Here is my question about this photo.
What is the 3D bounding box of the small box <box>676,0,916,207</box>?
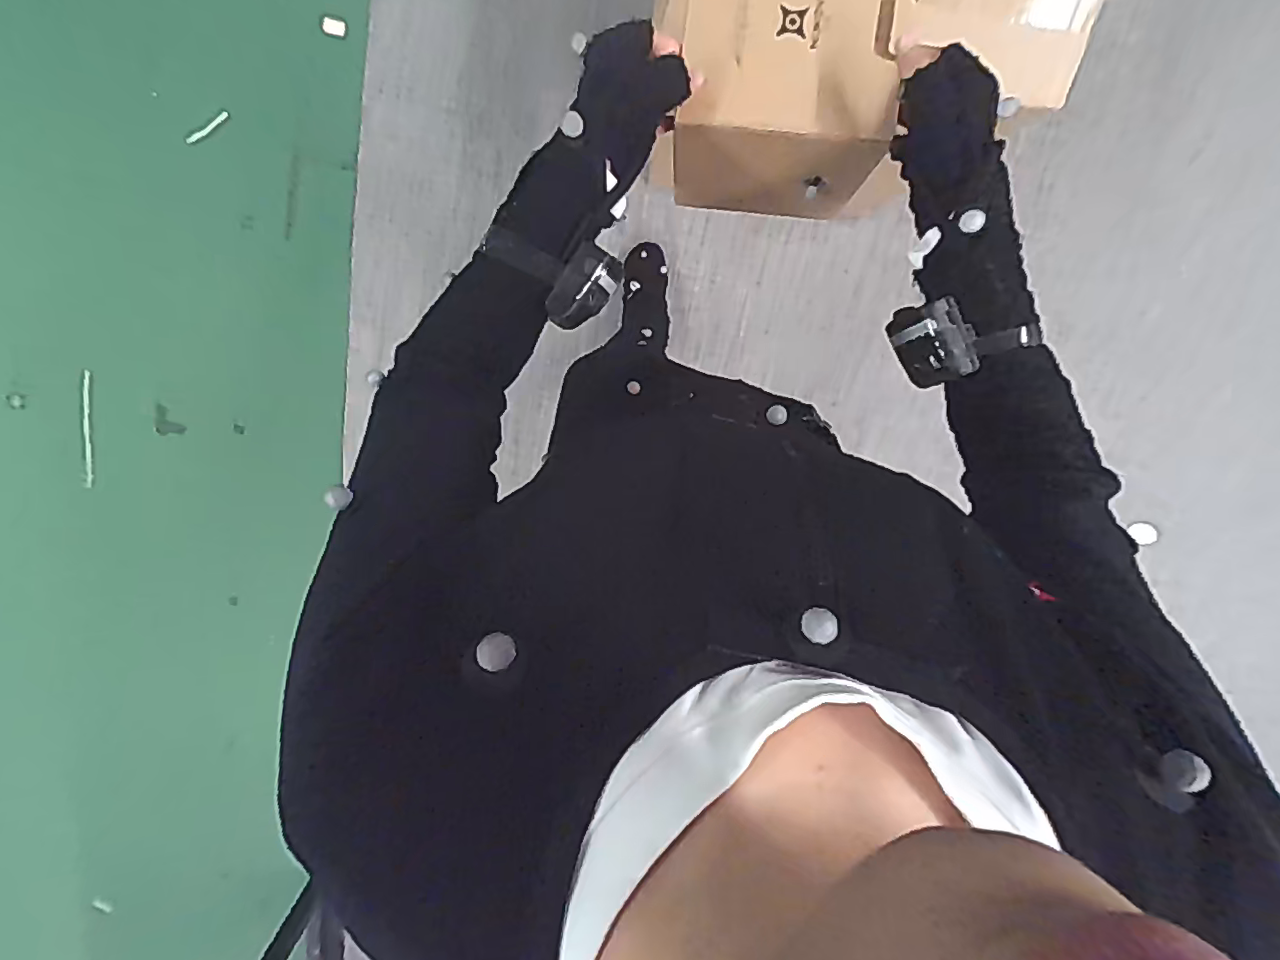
[{"bbox_3d":[0.129,-0.371,0.499,0.179,0.176,0.168,6,96,3],"label":"small box"}]
